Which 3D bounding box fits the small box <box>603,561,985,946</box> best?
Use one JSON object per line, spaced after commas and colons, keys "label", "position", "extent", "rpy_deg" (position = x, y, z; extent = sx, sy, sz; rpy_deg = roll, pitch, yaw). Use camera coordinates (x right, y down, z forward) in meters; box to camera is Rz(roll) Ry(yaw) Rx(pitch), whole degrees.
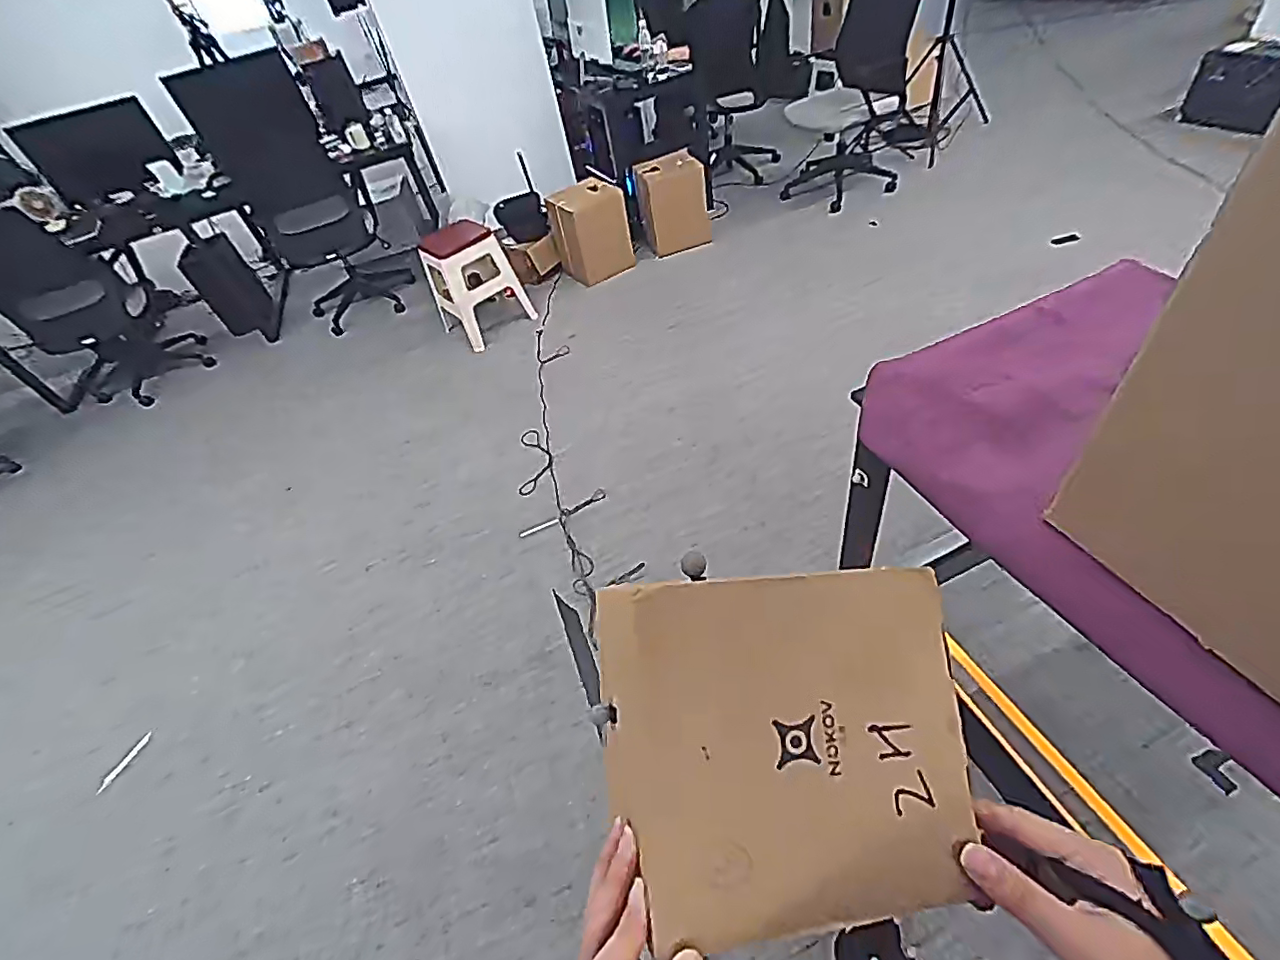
{"label": "small box", "position": [0.070, 0.144, 0.350], "extent": [0.179, 0.176, 0.168], "rpy_deg": [-2, 78, -12]}
